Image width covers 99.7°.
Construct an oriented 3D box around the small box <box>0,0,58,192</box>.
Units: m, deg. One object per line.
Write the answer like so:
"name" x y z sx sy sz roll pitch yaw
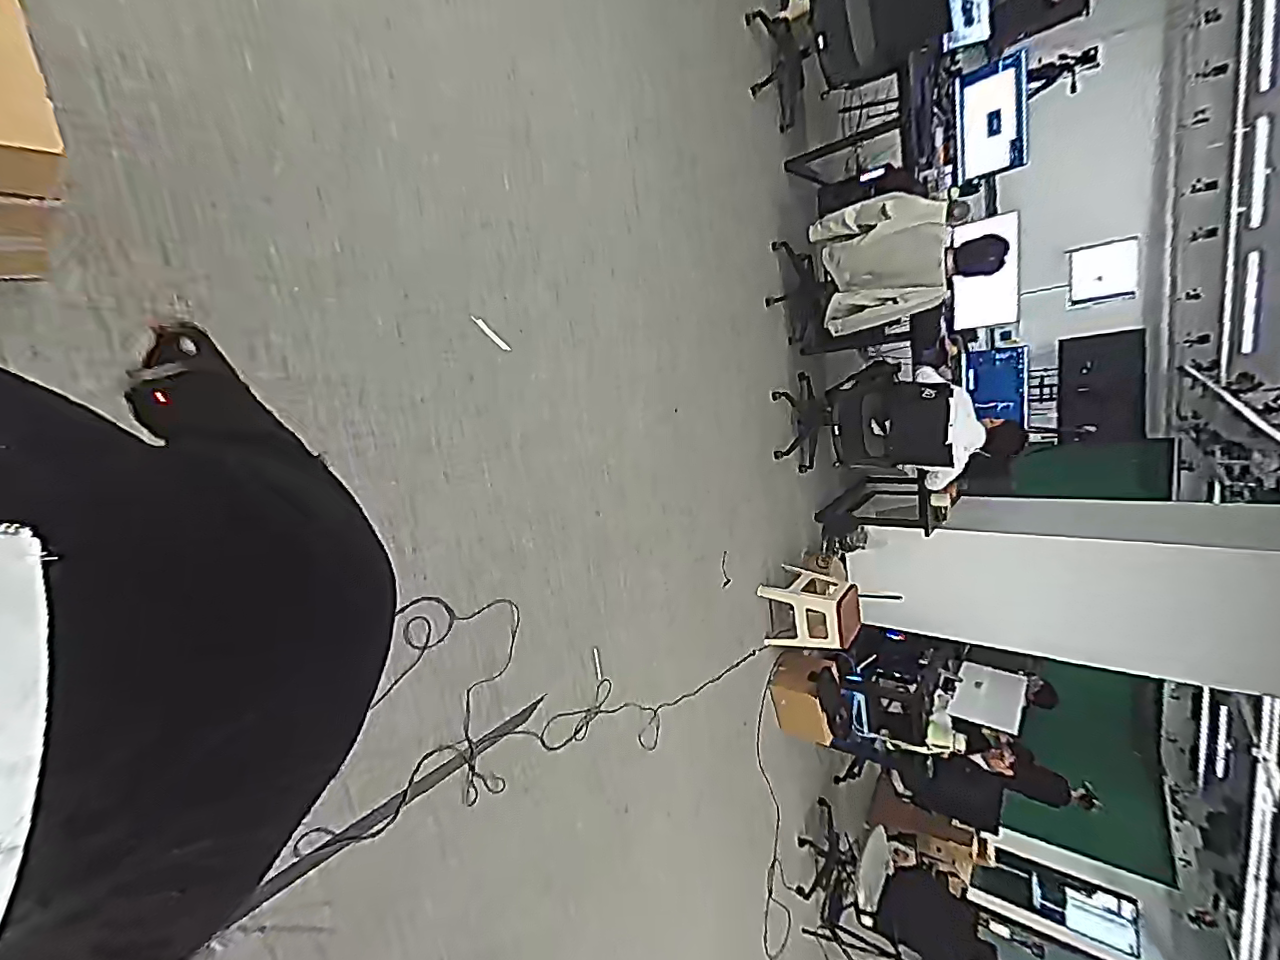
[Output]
"small box" -0.776 -0.438 0.580 0.168 0.176 0.179 -20 108 -49
